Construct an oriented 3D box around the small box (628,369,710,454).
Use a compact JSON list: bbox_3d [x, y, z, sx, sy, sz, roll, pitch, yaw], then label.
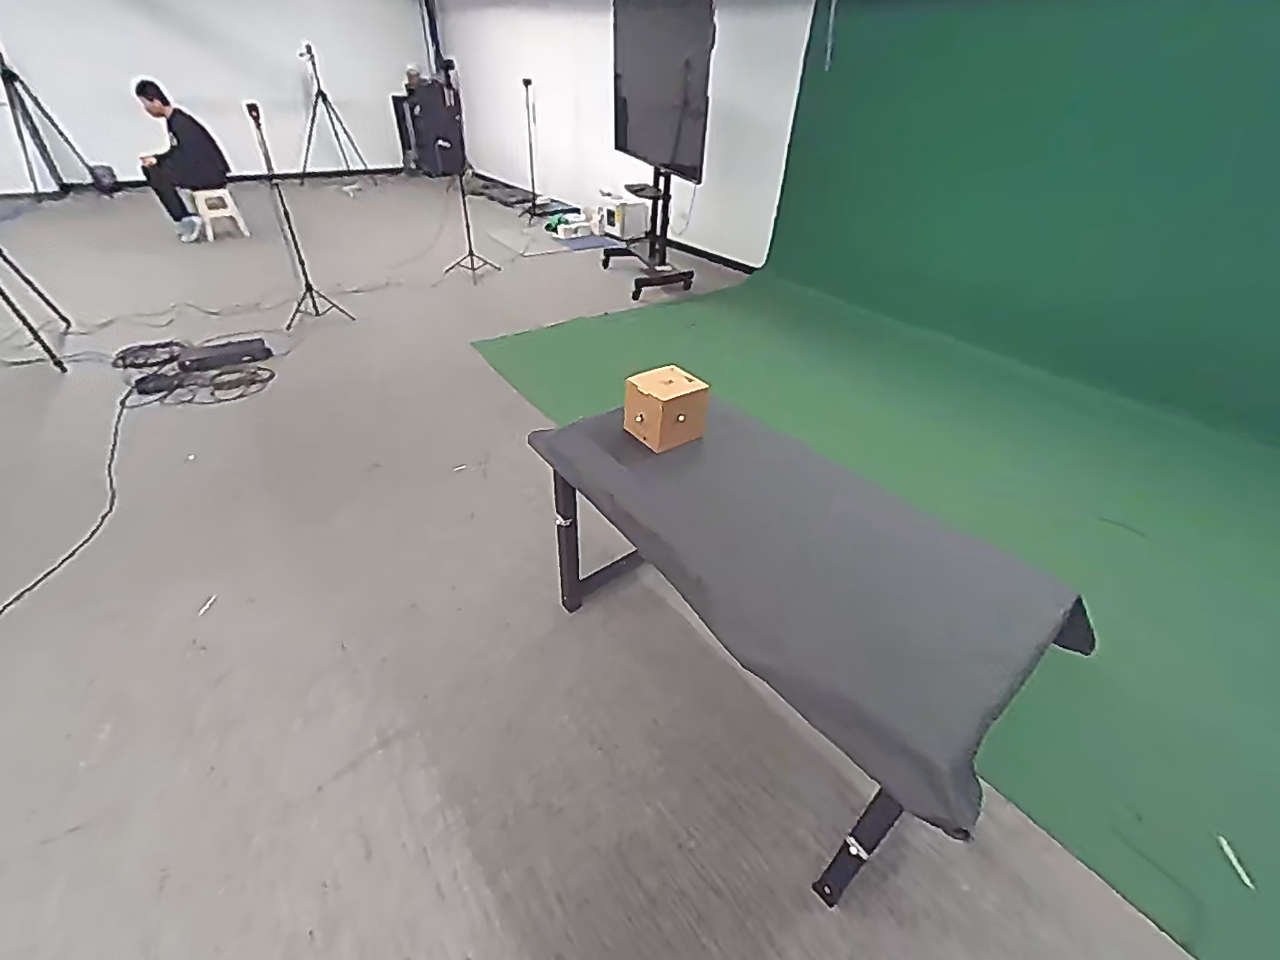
[{"bbox_3d":[0.080,-0.199,1.573,0.179,0.176,0.168,-23,45,-30],"label":"small box"}]
